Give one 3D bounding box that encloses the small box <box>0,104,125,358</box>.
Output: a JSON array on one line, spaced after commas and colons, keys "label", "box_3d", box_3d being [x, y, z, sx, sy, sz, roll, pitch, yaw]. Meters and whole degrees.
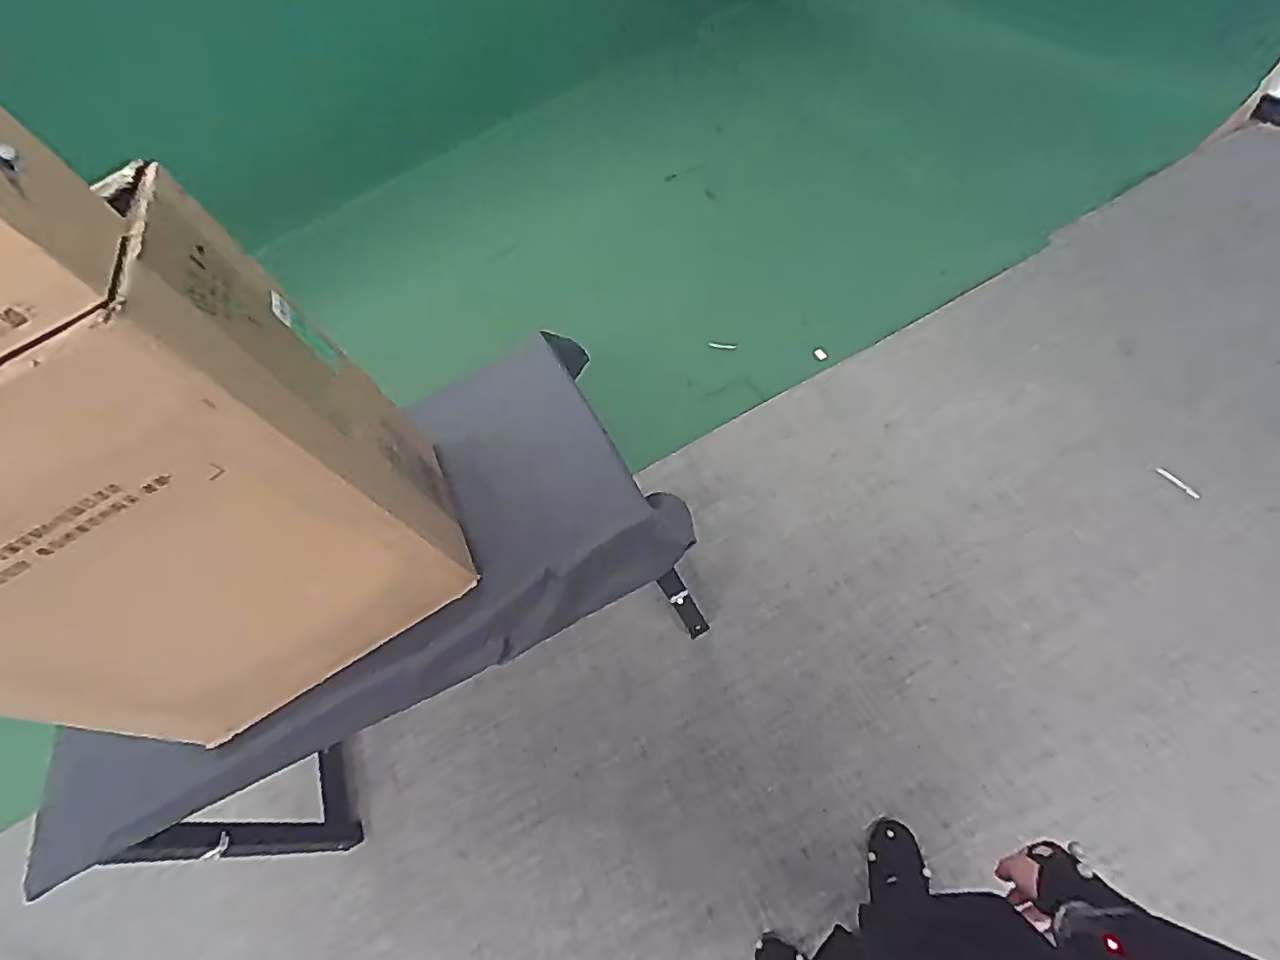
[{"label": "small box", "box_3d": [-0.576, -0.212, 0.437, 0.168, 0.176, 0.179, -31, 55, -4]}]
